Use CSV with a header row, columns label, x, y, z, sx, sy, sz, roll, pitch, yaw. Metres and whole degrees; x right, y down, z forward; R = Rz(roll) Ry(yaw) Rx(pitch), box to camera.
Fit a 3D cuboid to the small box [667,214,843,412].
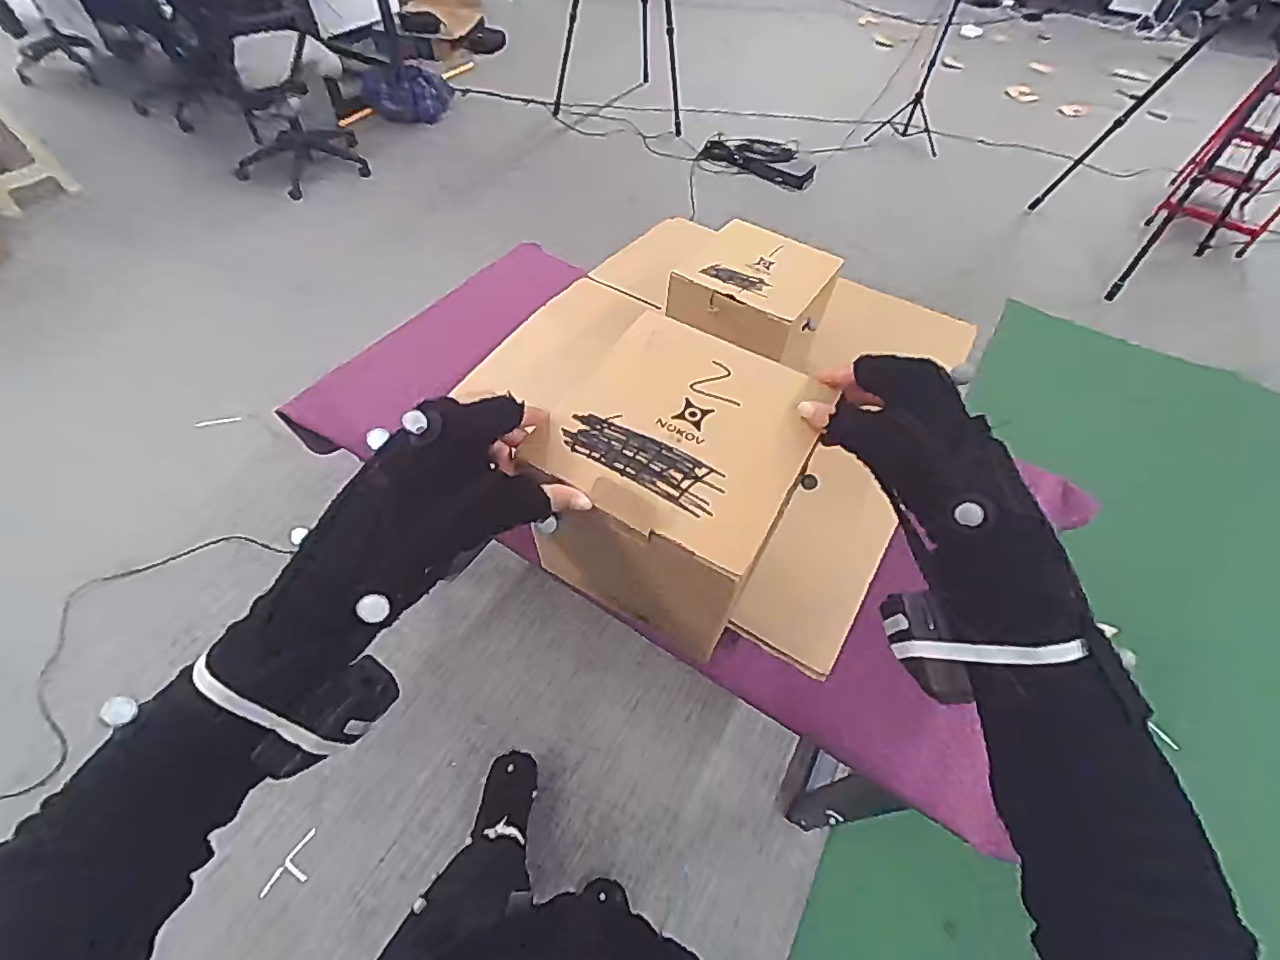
label,x,y,z,sx,sy,sz,roll,pitch,yaw
small box,0.147,-0.223,0.740,0.168,0.176,0.179,27,57,15
